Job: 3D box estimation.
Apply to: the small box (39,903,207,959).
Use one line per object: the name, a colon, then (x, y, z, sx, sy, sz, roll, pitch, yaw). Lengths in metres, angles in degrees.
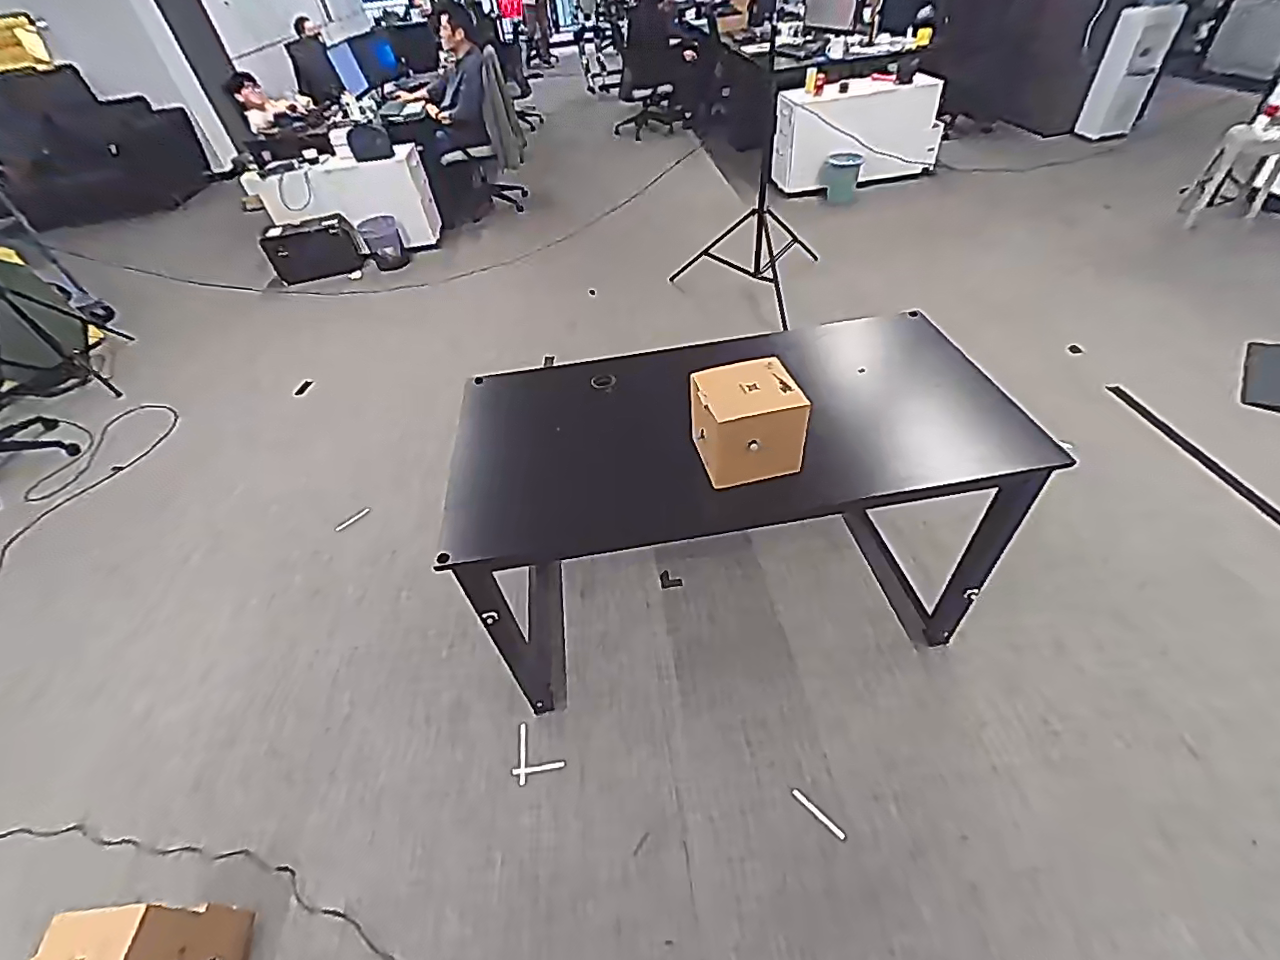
small box: (-0.977, 0.910, 1.008, 0.179, 0.176, 0.168, -7, 47, -1)

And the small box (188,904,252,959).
small box: (-0.959, 1.018, 1.128, 0.168, 0.176, 0.179, -9, 46, -2)

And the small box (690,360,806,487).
small box: (0.206, -0.106, 1.062, 0.179, 0.176, 0.168, -13, 44, -4)
